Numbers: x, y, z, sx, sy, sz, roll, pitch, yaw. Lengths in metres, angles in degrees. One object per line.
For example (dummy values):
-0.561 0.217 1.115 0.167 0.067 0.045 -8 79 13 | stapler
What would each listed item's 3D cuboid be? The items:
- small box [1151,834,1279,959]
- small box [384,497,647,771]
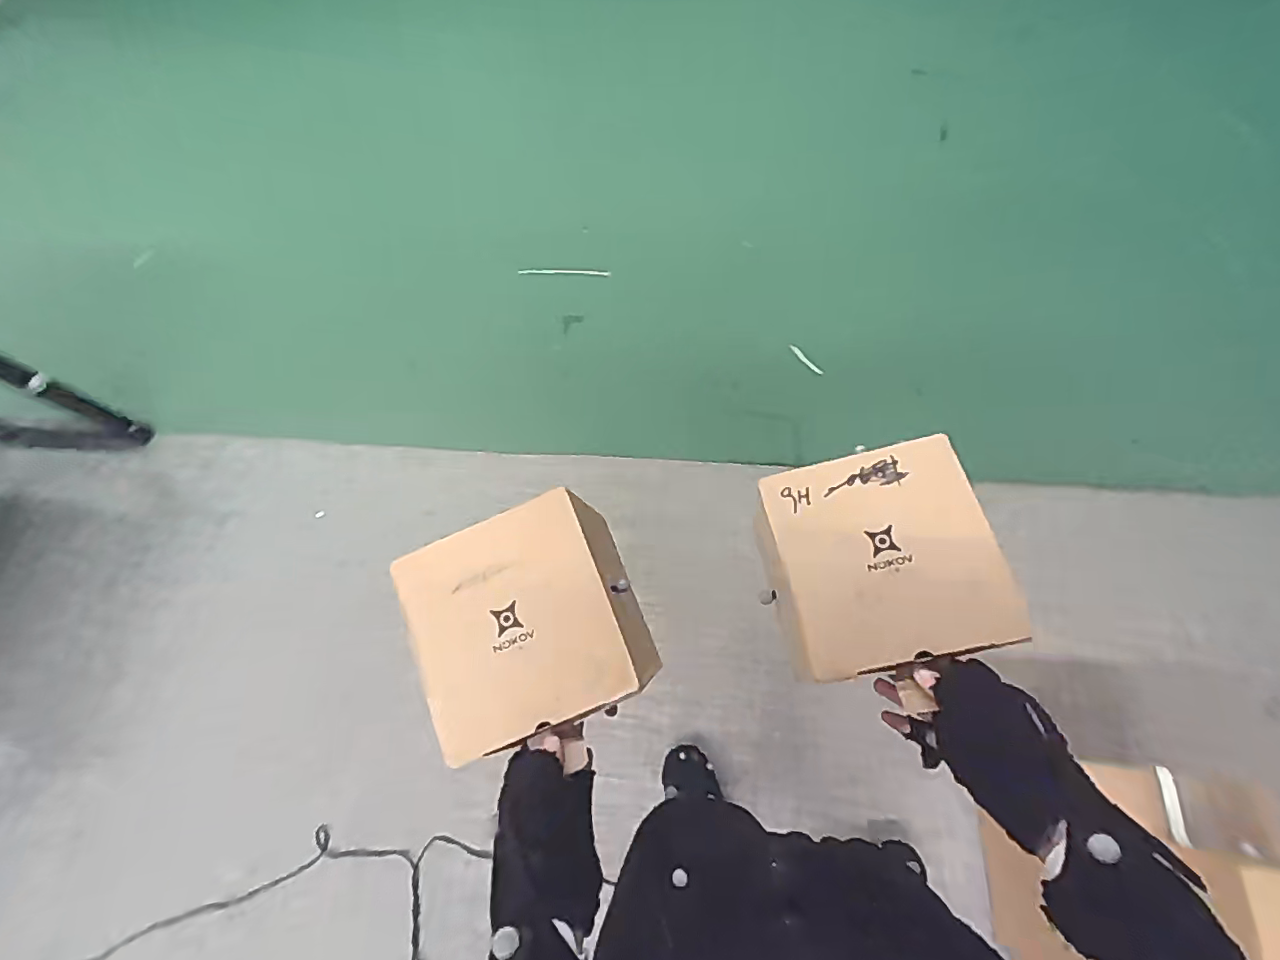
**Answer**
0.837 0.599 0.713 0.168 0.176 0.179 0 69 13 | small box
-0.104 0.138 0.521 0.168 0.176 0.179 -25 75 1 | small box
